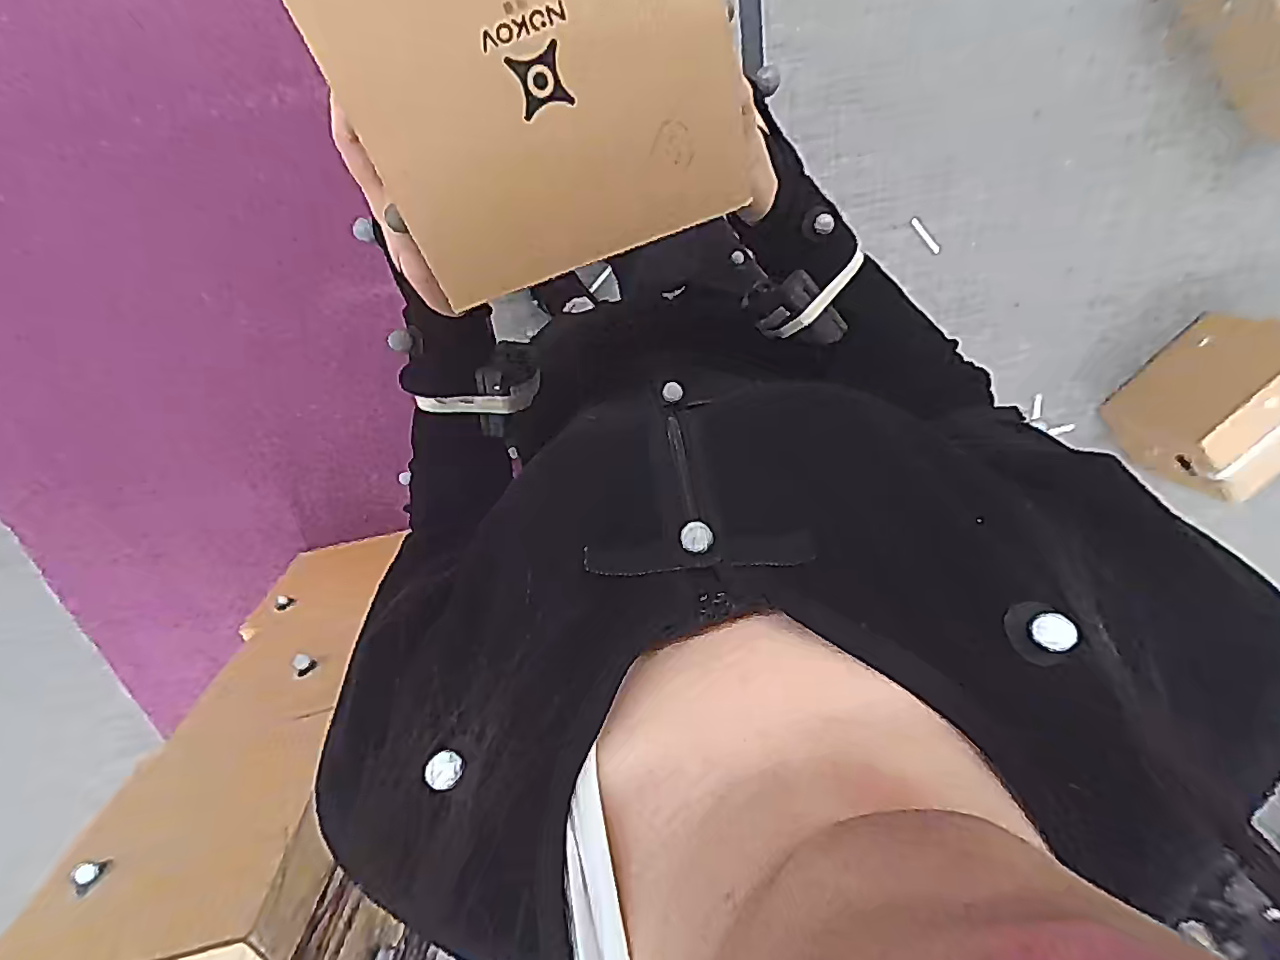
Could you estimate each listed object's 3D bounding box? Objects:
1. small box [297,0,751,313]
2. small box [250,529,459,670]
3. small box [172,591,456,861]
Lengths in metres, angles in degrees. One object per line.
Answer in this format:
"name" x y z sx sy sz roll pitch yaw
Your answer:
"small box" -0.055 -0.224 0.291 0.168 0.176 0.179 -20 130 1
"small box" -0.351 0.184 0.712 0.179 0.176 0.168 -13 115 -3
"small box" -0.307 0.242 0.564 0.179 0.176 0.168 -17 115 -1
